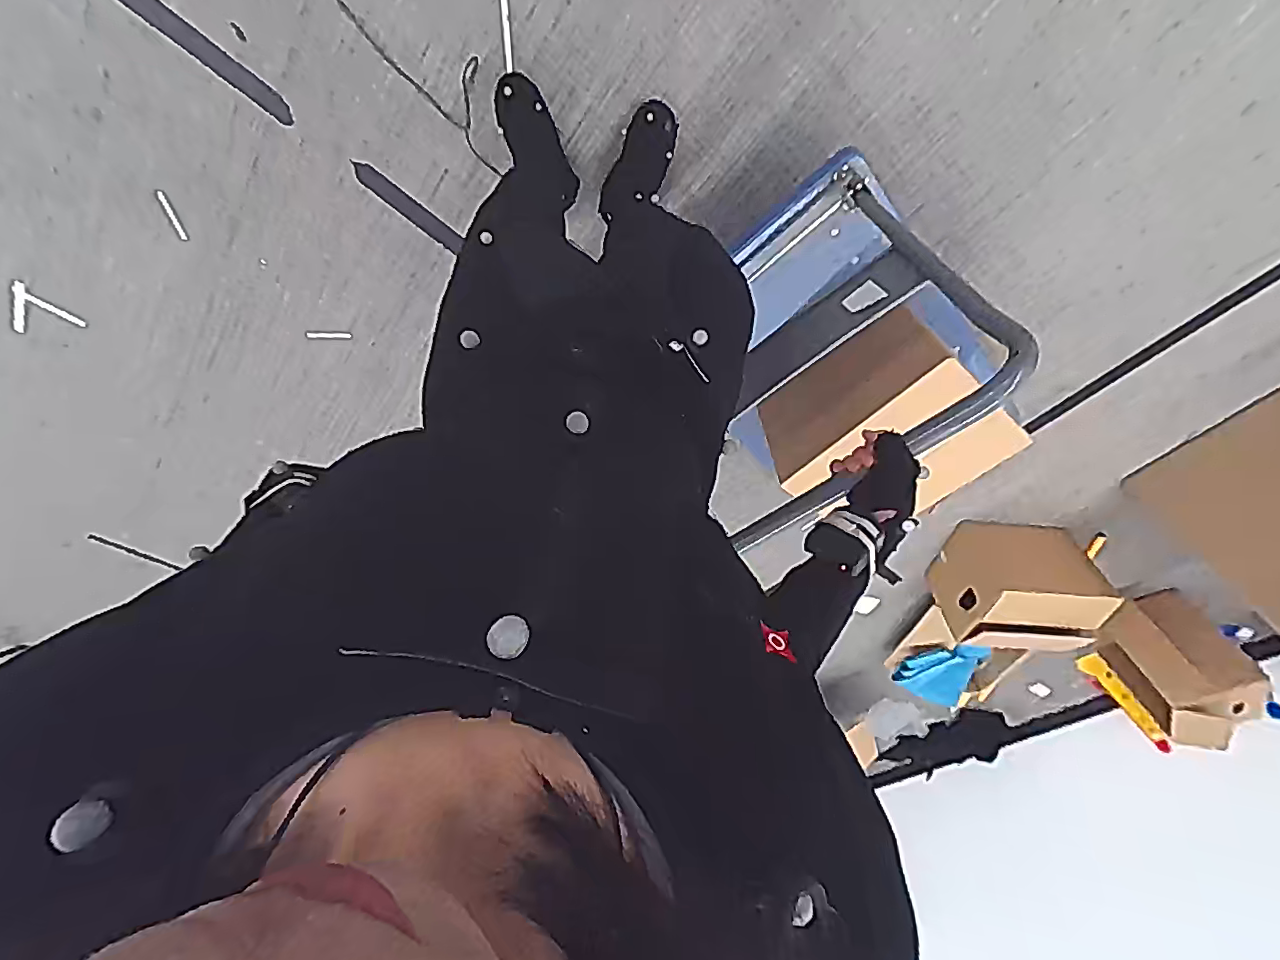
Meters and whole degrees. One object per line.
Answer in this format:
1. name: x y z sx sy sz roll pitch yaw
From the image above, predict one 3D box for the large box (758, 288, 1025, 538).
1. large box: 0.539 -0.144 1.236 0.320 0.320 0.408 31 125 -25
